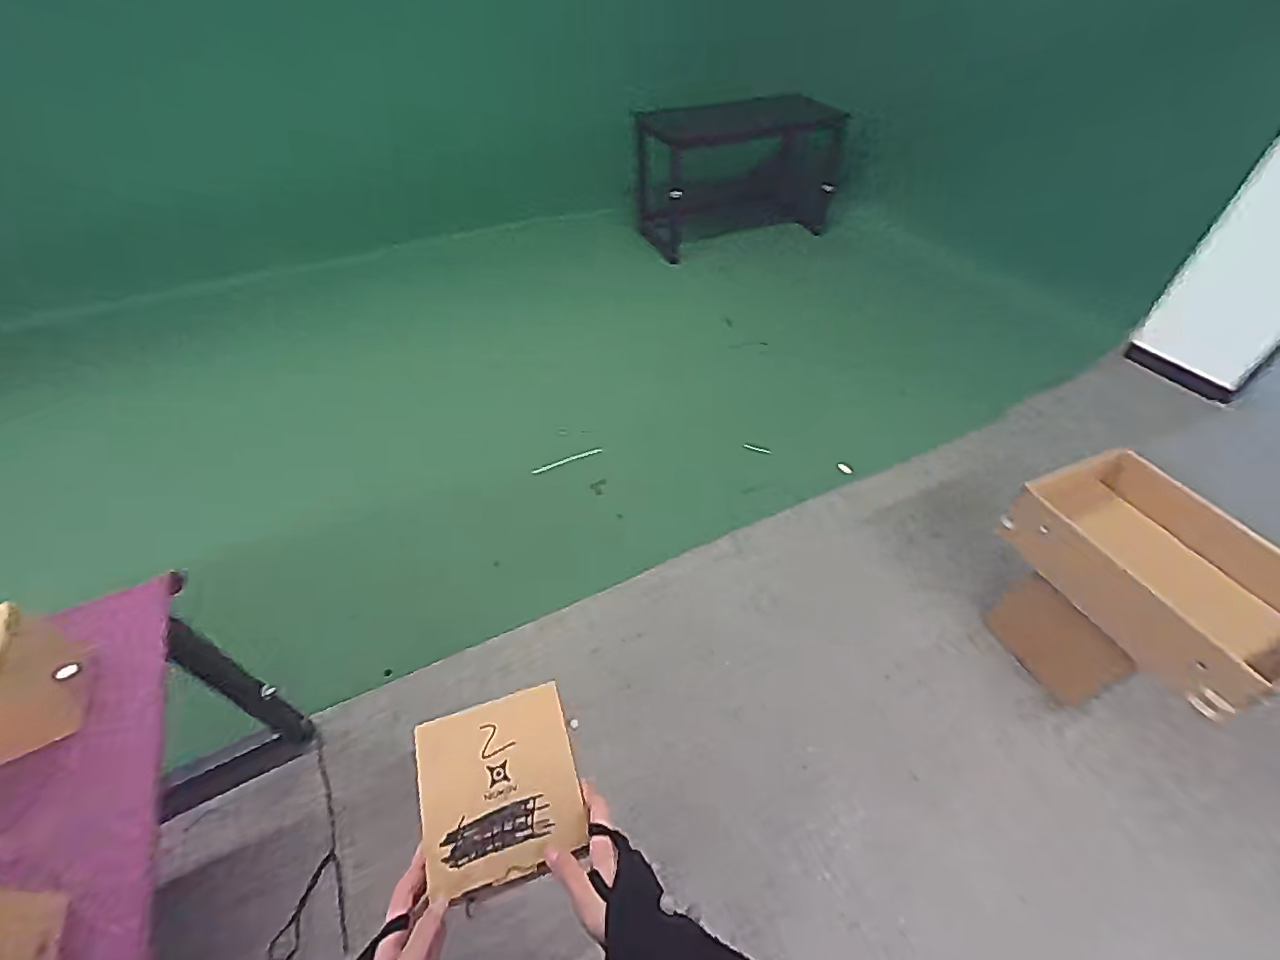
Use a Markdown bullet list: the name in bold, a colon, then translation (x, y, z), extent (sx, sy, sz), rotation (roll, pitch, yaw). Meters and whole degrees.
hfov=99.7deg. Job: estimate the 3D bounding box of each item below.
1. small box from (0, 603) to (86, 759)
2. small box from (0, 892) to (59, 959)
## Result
- **small box**: translation (-1.021, 0.328, 0.825), extent (0.179, 0.176, 0.168), rotation (-23, 52, -19)
- **small box**: translation (-0.815, 0.583, 0.586), extent (0.179, 0.176, 0.168), rotation (-21, 50, -17)
